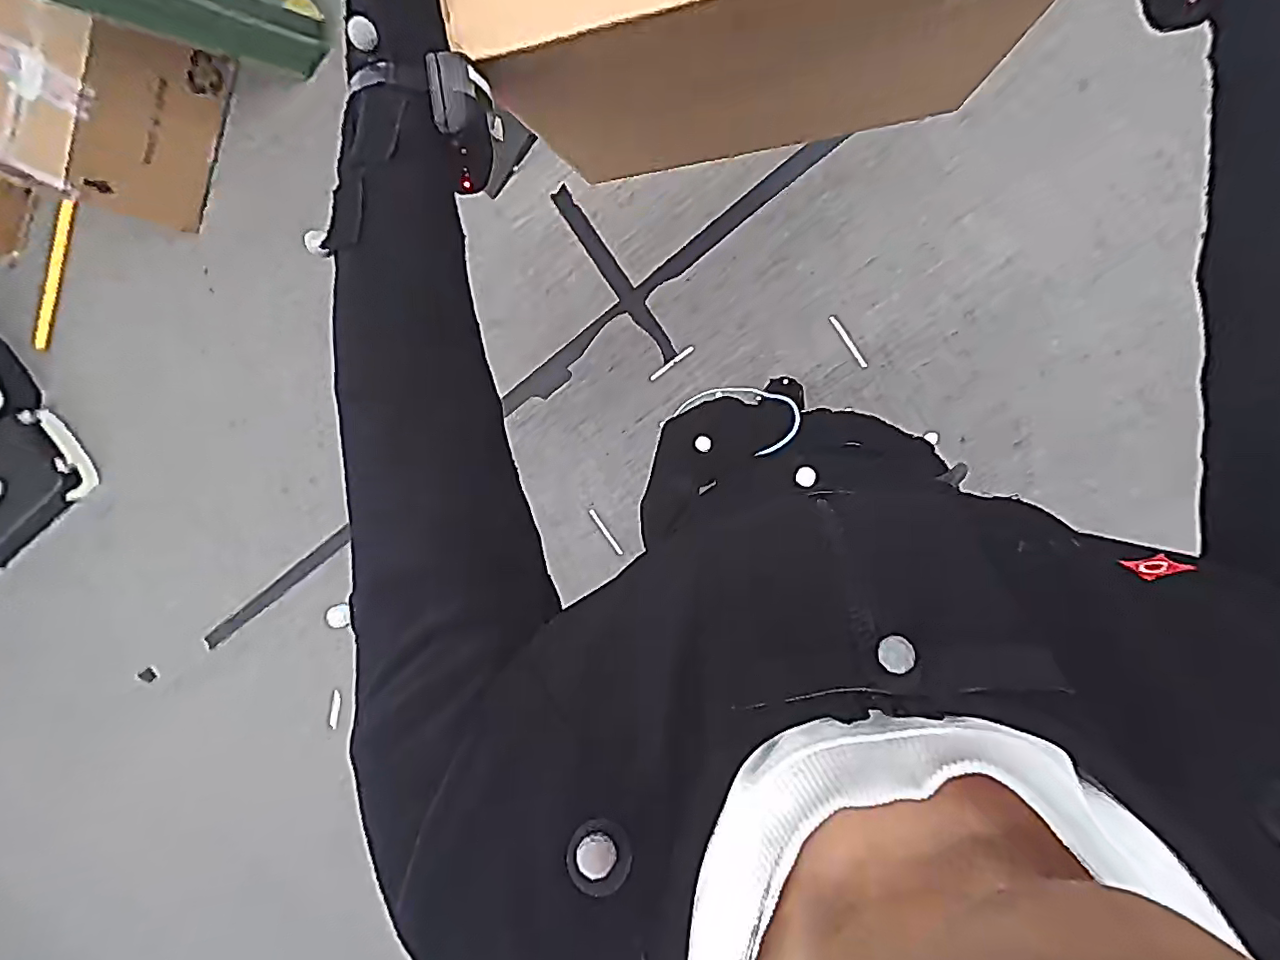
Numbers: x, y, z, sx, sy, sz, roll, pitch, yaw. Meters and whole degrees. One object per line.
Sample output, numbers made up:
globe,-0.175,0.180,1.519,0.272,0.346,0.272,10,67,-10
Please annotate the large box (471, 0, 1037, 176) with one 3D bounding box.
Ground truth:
large box,0.089,-0.488,0.431,0.408,0.320,0.320,-5,104,12
